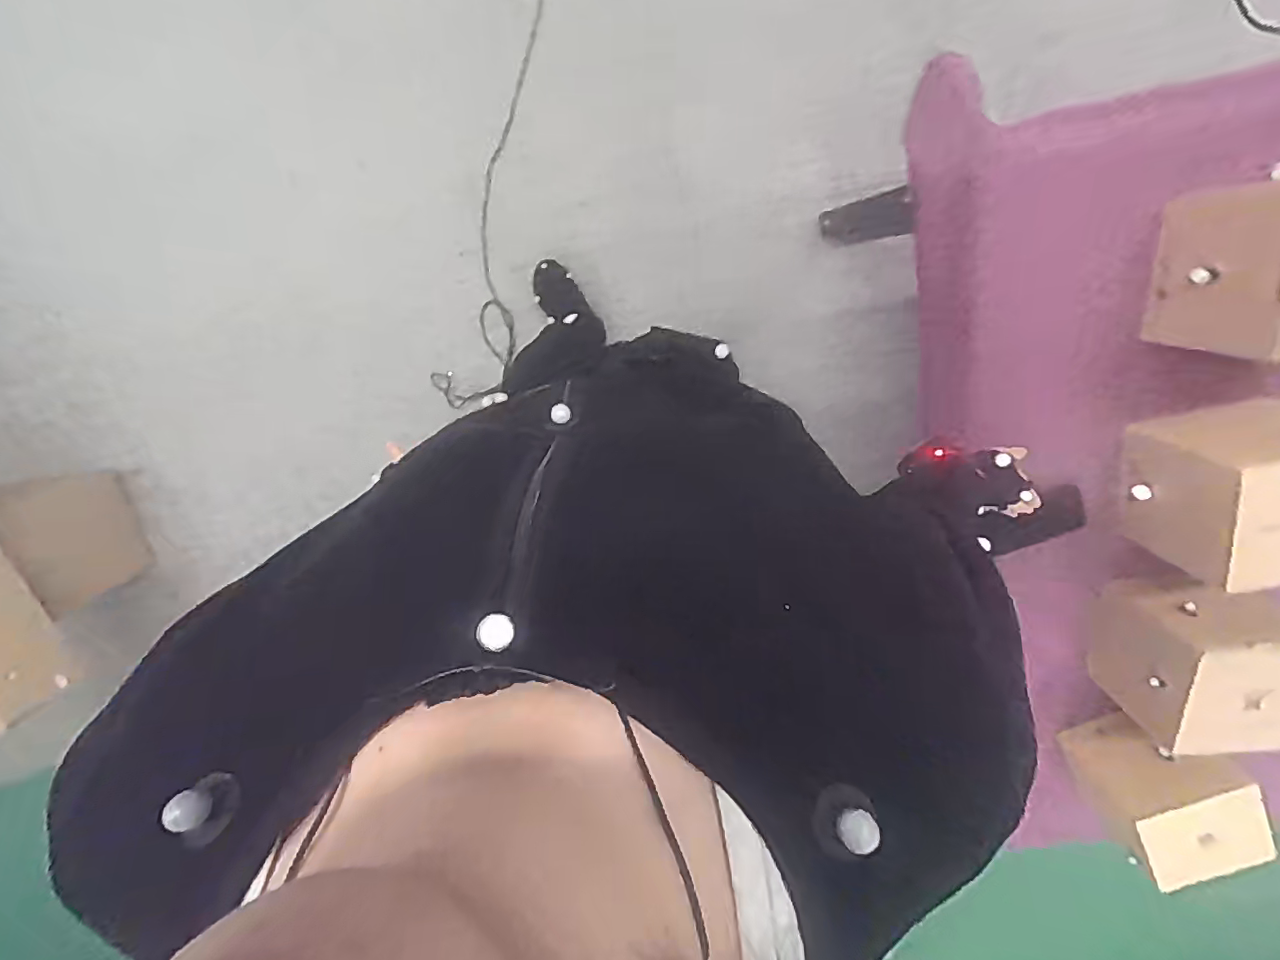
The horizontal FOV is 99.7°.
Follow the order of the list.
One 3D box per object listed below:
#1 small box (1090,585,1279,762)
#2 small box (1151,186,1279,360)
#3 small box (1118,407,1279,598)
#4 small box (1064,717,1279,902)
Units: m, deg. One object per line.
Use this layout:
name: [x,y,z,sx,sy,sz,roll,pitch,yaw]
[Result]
small box: [0.787,0.260,0.760,0.168,0.176,0.179,-5,111,4]
small box: [0.710,-0.229,0.576,0.179,0.176,0.168,-7,110,5]
small box: [0.754,0.019,0.669,0.179,0.176,0.168,-12,110,7]
small box: [0.820,0.500,0.849,0.168,0.176,0.179,-28,108,11]
